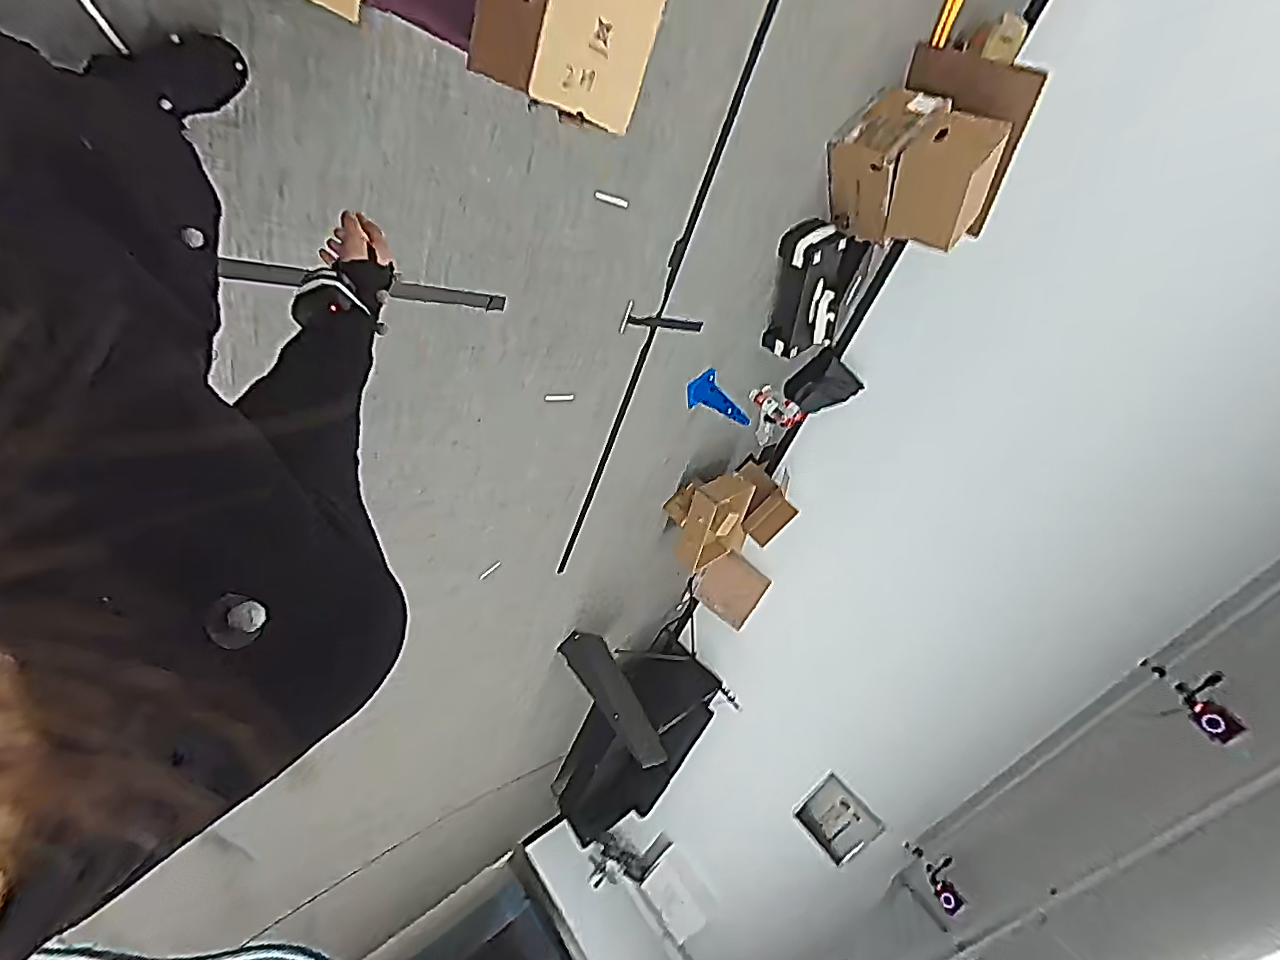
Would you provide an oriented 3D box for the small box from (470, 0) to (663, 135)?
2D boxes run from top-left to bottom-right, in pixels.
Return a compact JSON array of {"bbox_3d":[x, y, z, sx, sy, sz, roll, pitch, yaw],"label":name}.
[{"bbox_3d":[-0.103,-0.597,0.712,0.168,0.176,0.179,-10,134,-45],"label":"small box"}]

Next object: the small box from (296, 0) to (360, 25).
[{"bbox_3d":[-0.345,-0.548,0.463,0.168,0.176,0.179,-7,132,-48],"label":"small box"}]
